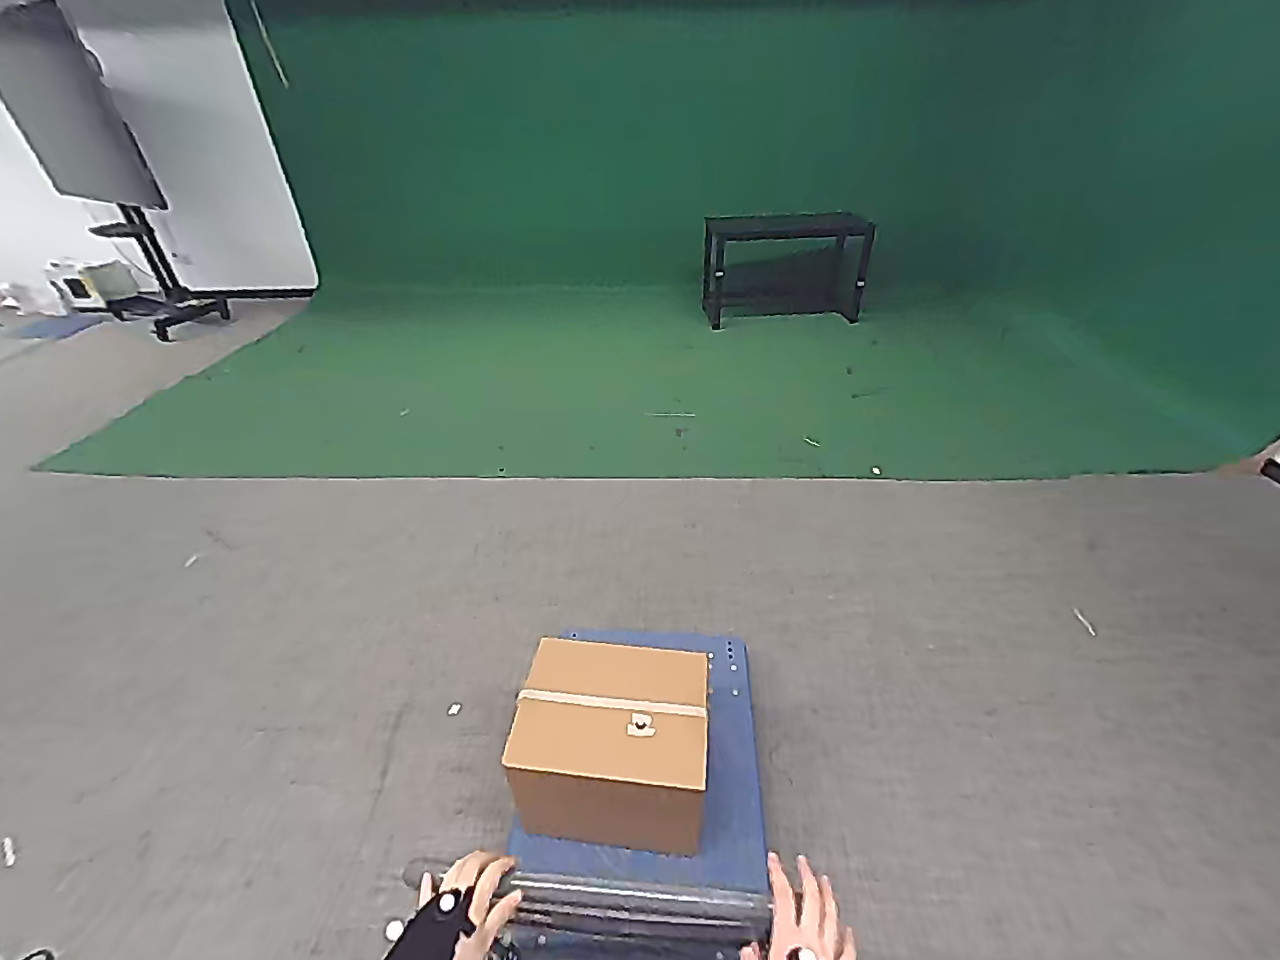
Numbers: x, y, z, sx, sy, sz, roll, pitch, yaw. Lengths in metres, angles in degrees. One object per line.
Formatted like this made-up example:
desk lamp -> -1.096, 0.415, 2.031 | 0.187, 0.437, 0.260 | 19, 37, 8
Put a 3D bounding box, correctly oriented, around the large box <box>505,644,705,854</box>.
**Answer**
large box -> -0.062, 0.621, 1.266 | 0.408, 0.320, 0.320 | 4, 35, 5
